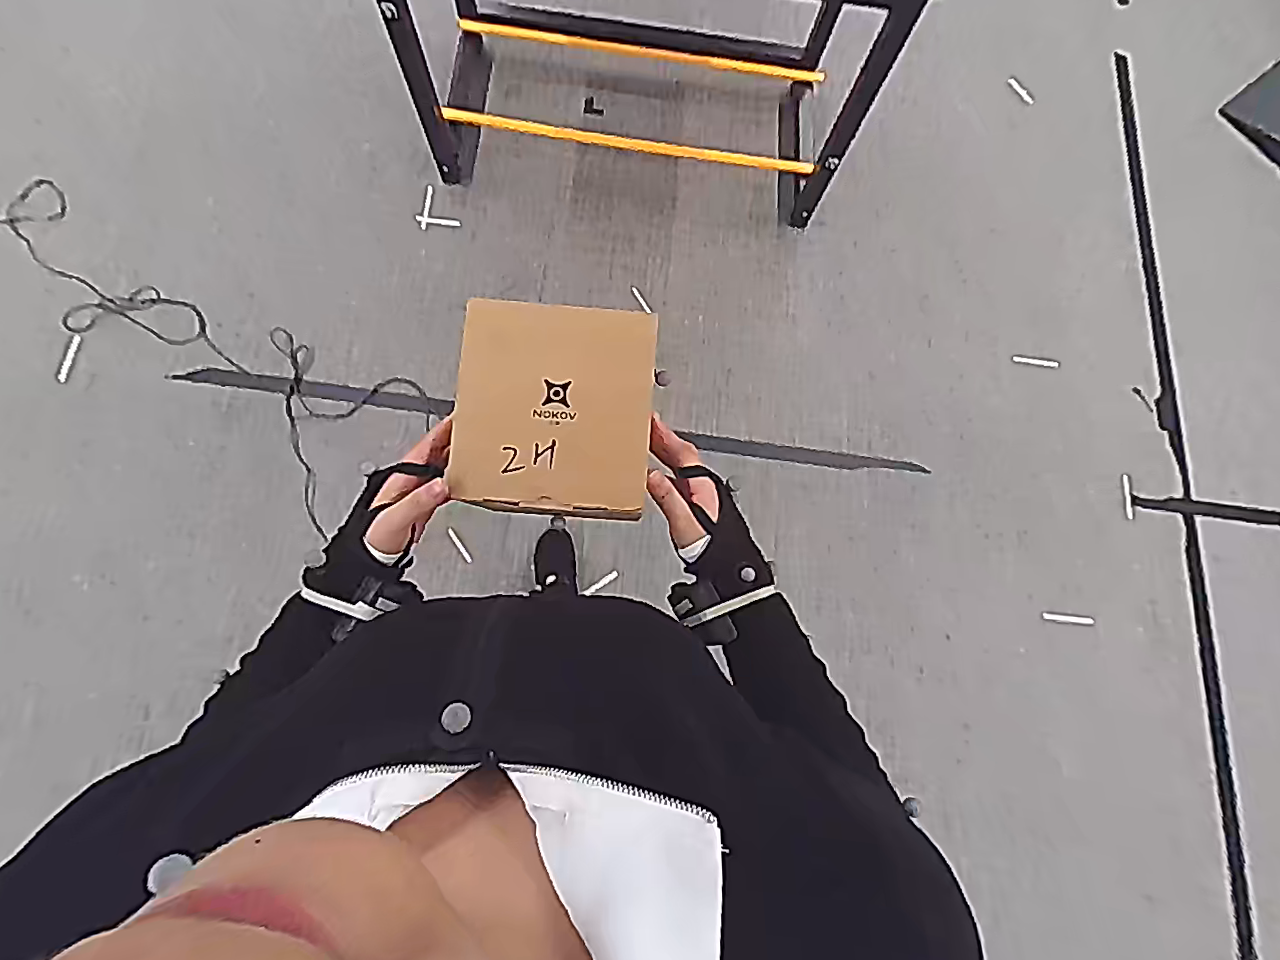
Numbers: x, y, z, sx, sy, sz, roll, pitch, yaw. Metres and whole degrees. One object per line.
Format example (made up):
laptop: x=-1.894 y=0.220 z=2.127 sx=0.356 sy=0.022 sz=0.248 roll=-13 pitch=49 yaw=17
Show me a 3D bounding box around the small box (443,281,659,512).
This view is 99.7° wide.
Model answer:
small box: x=-0.075 y=-0.067 z=0.527 sx=0.168 sy=0.176 sz=0.179 roll=4 pitch=83 yaw=-1
